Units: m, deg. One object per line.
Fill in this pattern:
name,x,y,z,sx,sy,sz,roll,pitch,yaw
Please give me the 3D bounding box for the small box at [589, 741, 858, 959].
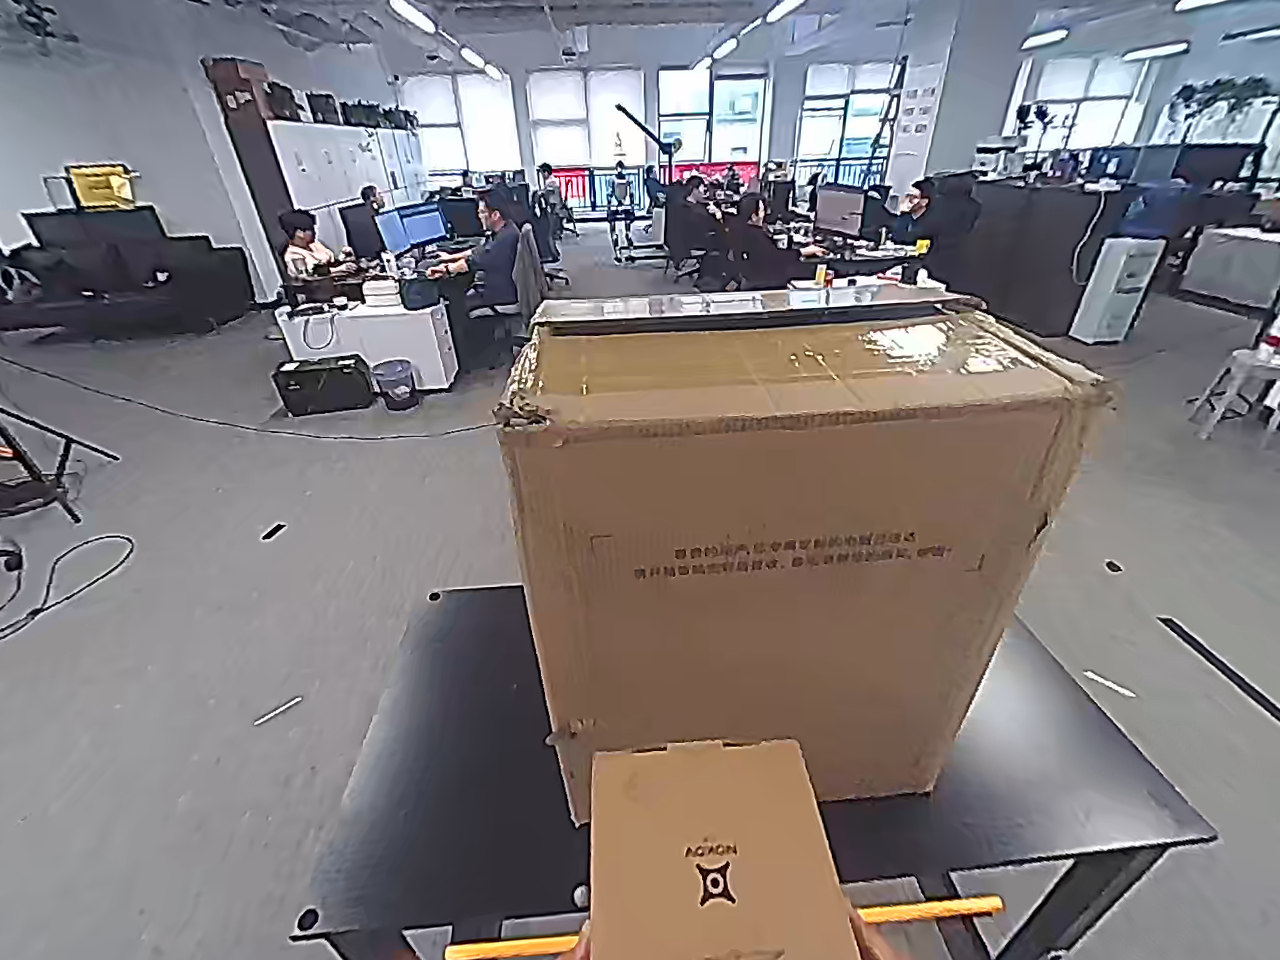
small box,0.049,0.328,0.409,0.168,0.176,0.179,-4,39,-2
